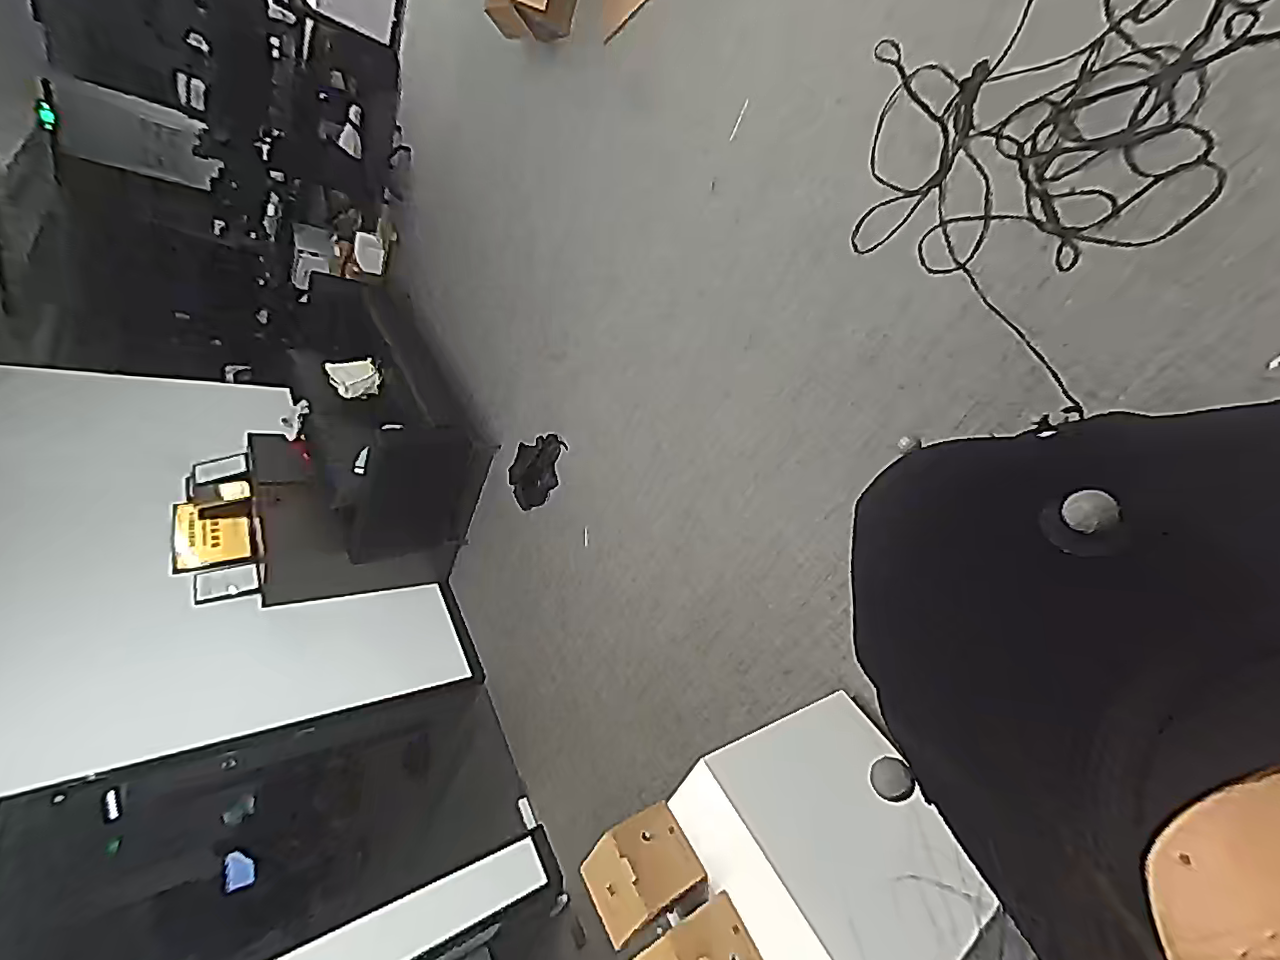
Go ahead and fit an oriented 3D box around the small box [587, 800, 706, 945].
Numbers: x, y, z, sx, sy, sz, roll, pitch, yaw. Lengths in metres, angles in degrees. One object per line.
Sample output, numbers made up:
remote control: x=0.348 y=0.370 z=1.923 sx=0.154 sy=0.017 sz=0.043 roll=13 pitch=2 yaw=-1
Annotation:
small box: x=0.017 y=0.835 z=1.165 sx=0.168 sy=0.176 sz=0.179 roll=50 pitch=127 yaw=38
